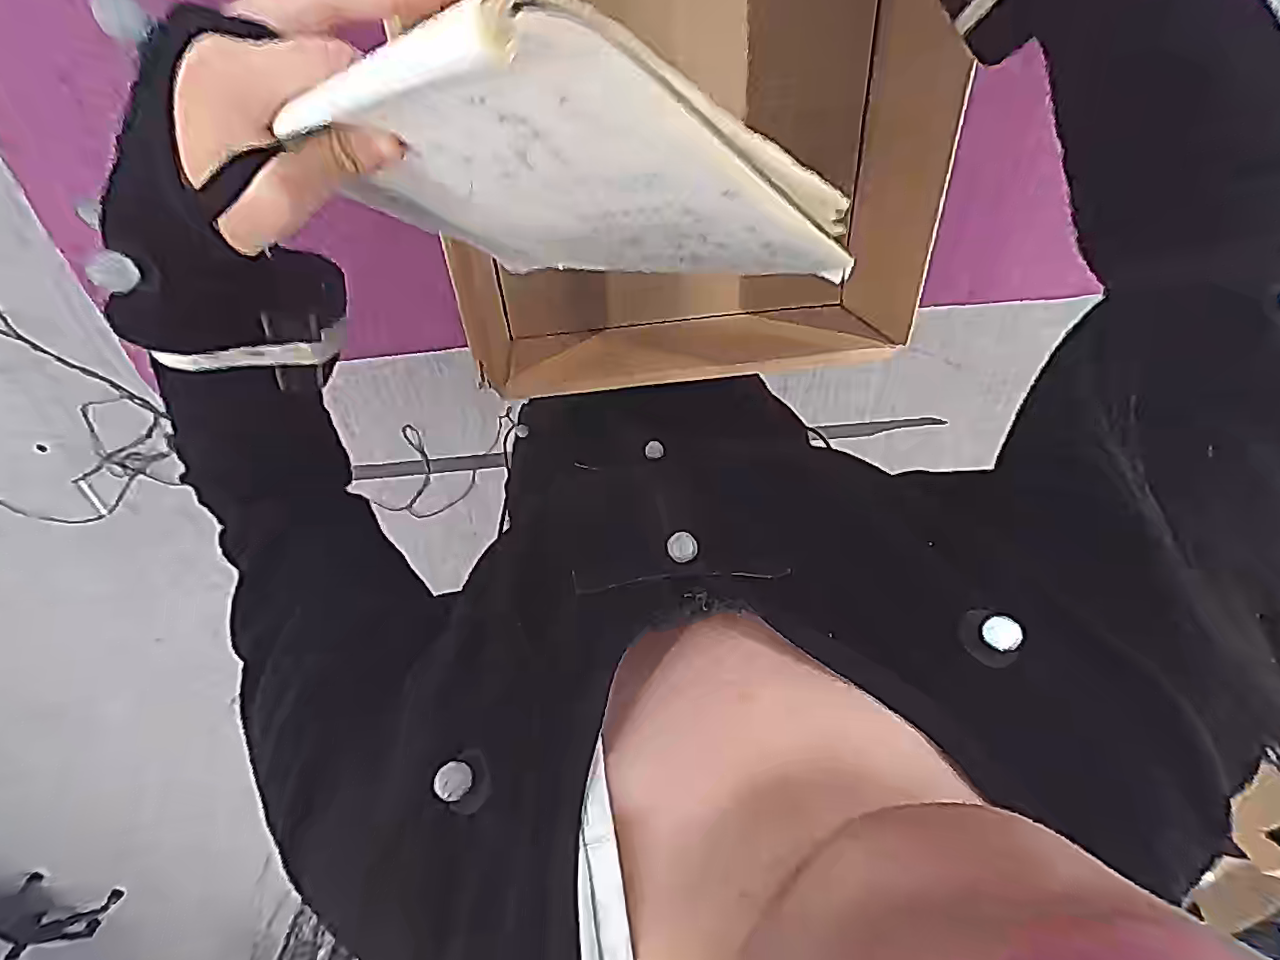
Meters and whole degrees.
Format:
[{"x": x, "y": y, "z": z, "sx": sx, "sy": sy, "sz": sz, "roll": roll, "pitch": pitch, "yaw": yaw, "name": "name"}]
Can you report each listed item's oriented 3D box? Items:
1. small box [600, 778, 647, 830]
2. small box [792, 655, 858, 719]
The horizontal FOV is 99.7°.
[{"x": -0.069, "y": 1.275, "z": 2.089, "sx": 0.168, "sy": 0.176, "sz": 0.179, "roll": -1, "pitch": 125, "yaw": -7, "name": "small box"}, {"x": 0.777, "y": 0.872, "z": 2.284, "sx": 0.179, "sy": 0.176, "sz": 0.168, "roll": 32, "pitch": 116, "yaw": -25, "name": "small box"}]
